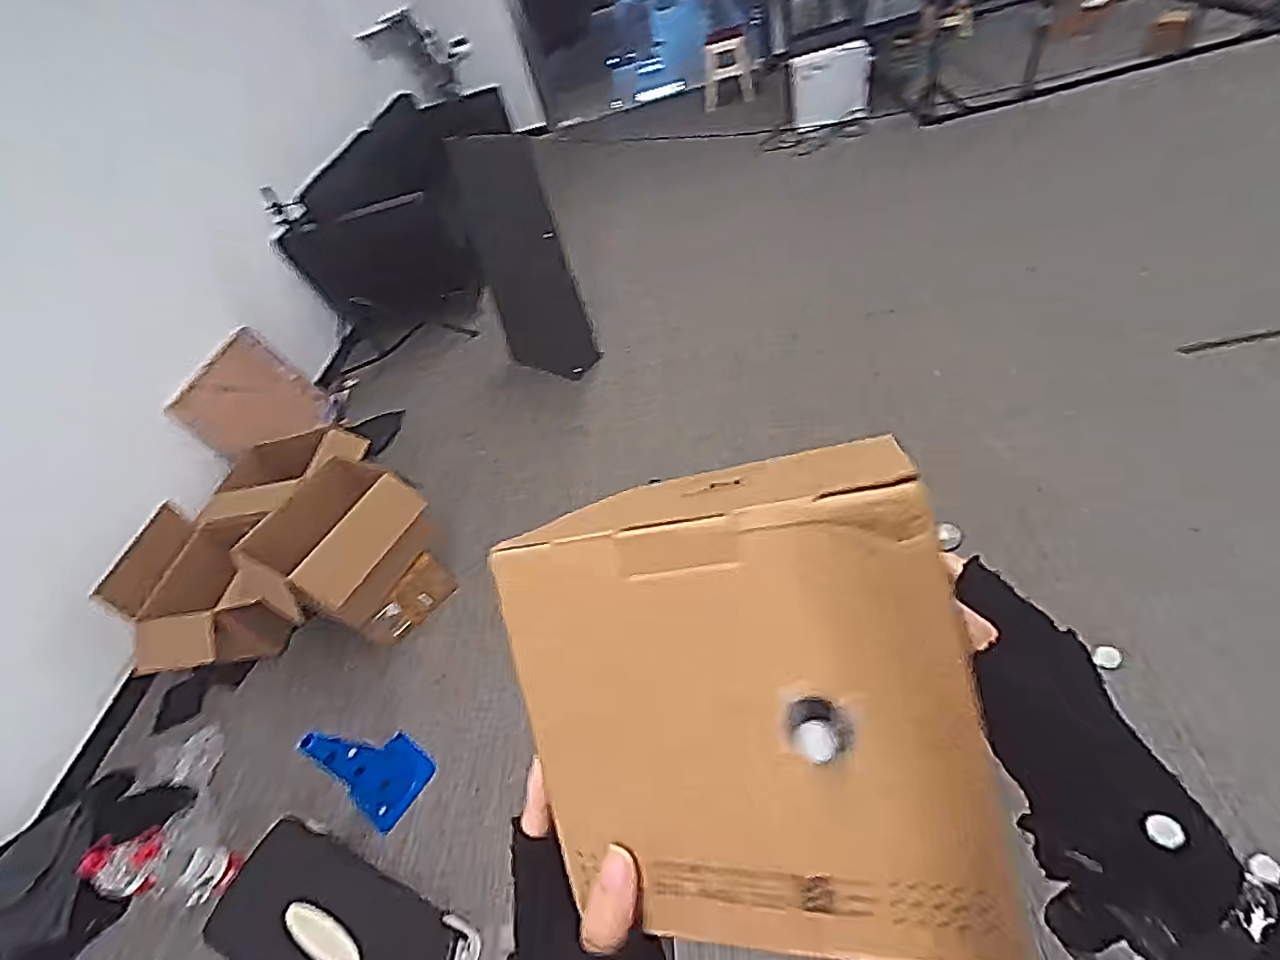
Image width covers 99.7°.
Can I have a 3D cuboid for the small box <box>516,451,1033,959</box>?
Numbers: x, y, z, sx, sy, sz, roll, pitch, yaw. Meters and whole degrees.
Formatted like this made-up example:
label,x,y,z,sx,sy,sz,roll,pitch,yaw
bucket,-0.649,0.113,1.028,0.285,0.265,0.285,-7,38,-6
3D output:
label,x,y,z,sx,sy,sz,roll,pitch,yaw
small box,0.069,0.091,0.275,0.168,0.176,0.179,-12,3,22
